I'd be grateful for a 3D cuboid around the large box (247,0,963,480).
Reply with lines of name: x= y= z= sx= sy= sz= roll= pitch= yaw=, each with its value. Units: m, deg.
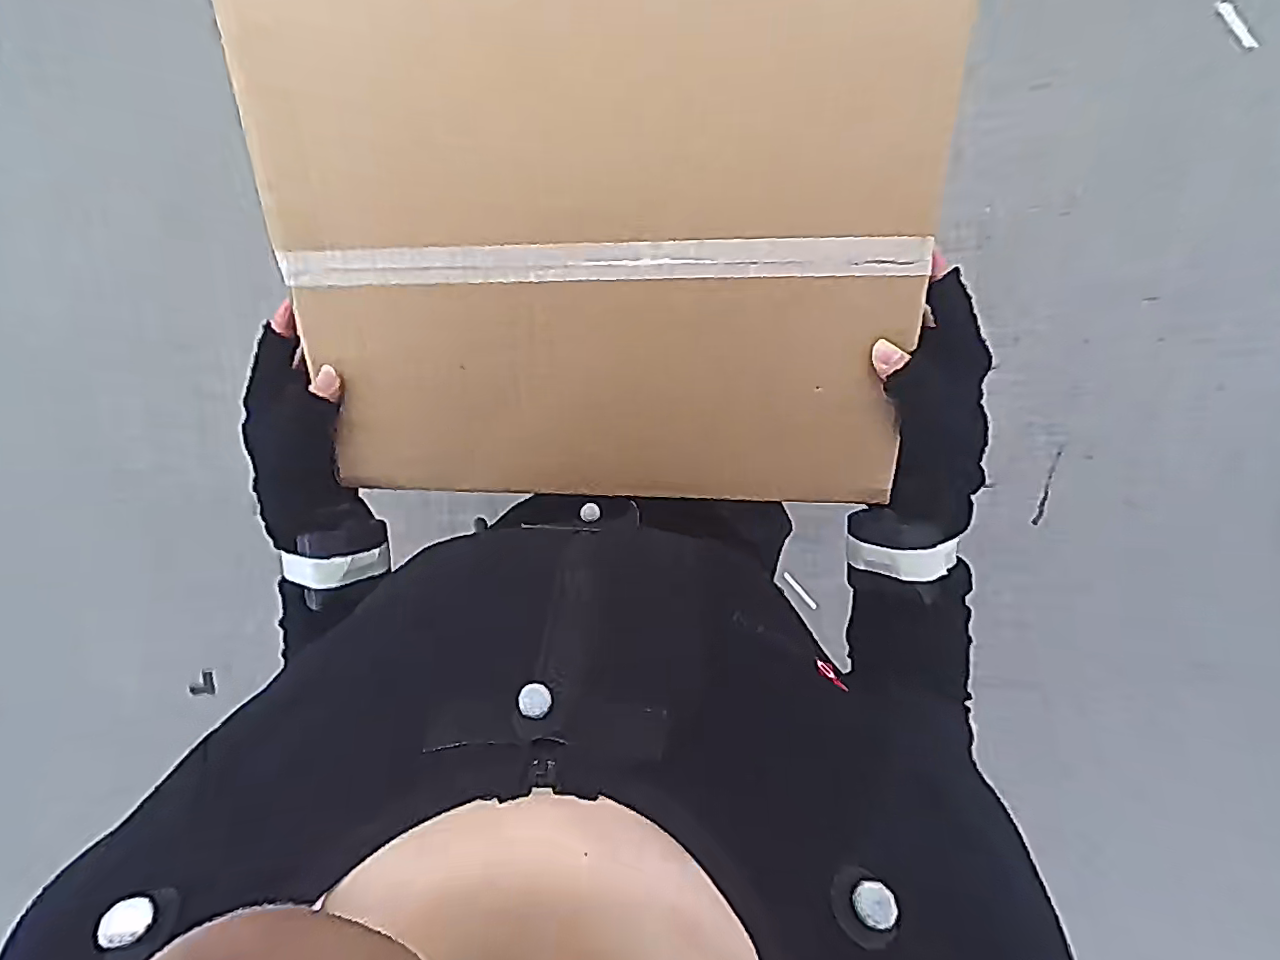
large box: x=-0.013 y=-0.200 z=0.481 sx=0.408 sy=0.320 sz=0.320 roll=1 pitch=114 yaw=6
